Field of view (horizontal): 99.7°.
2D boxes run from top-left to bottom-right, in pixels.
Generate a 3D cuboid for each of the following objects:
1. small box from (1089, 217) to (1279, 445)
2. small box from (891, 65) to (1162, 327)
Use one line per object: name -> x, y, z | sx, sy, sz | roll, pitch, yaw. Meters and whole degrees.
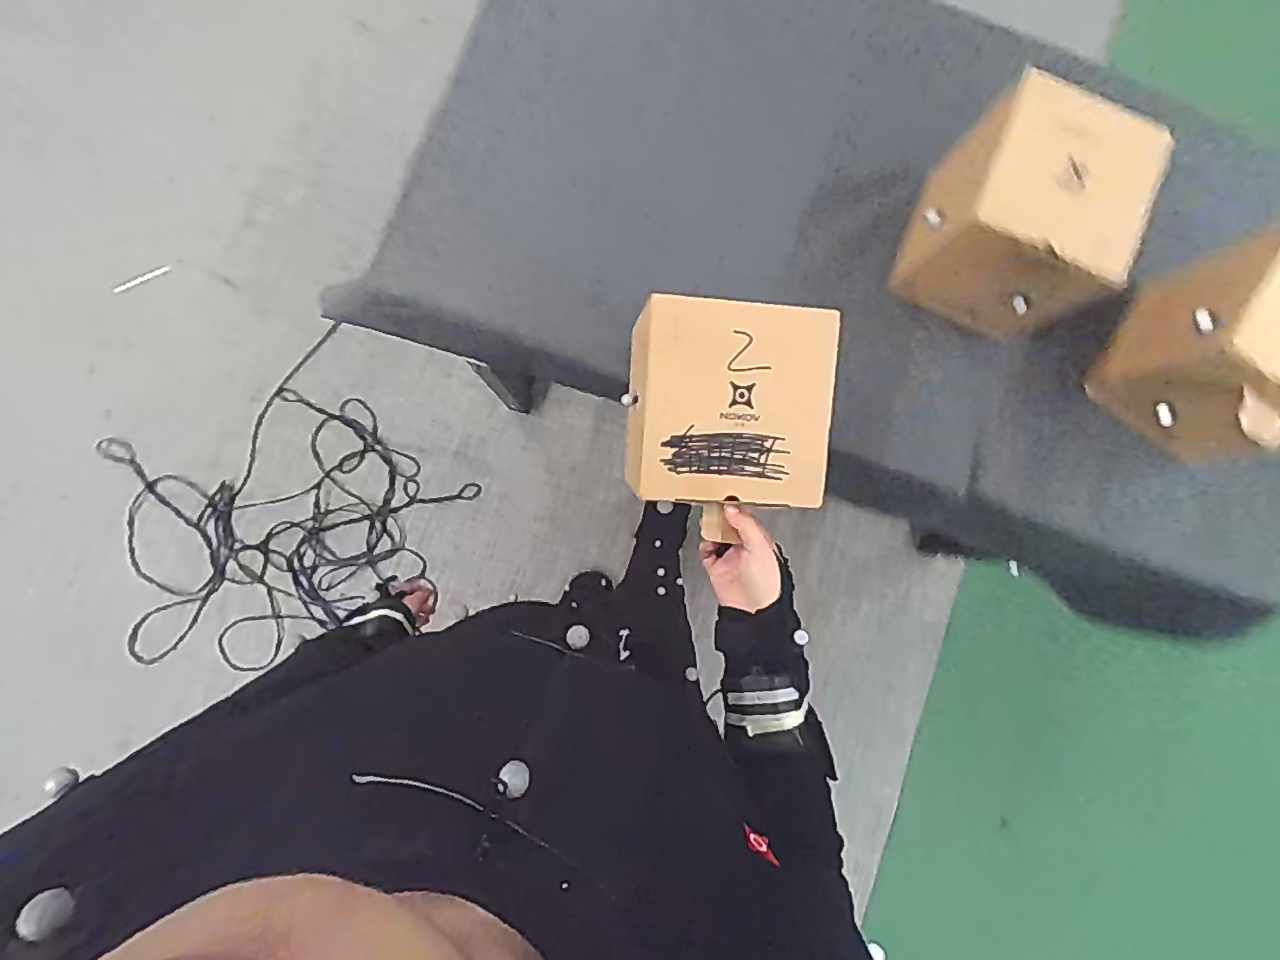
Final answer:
small box -> 0.681, -0.161, 0.621 | 0.168, 0.176, 0.179 | 34, 85, -1
small box -> 0.419, -0.302, 0.617 | 0.168, 0.176, 0.179 | 21, 84, -3
